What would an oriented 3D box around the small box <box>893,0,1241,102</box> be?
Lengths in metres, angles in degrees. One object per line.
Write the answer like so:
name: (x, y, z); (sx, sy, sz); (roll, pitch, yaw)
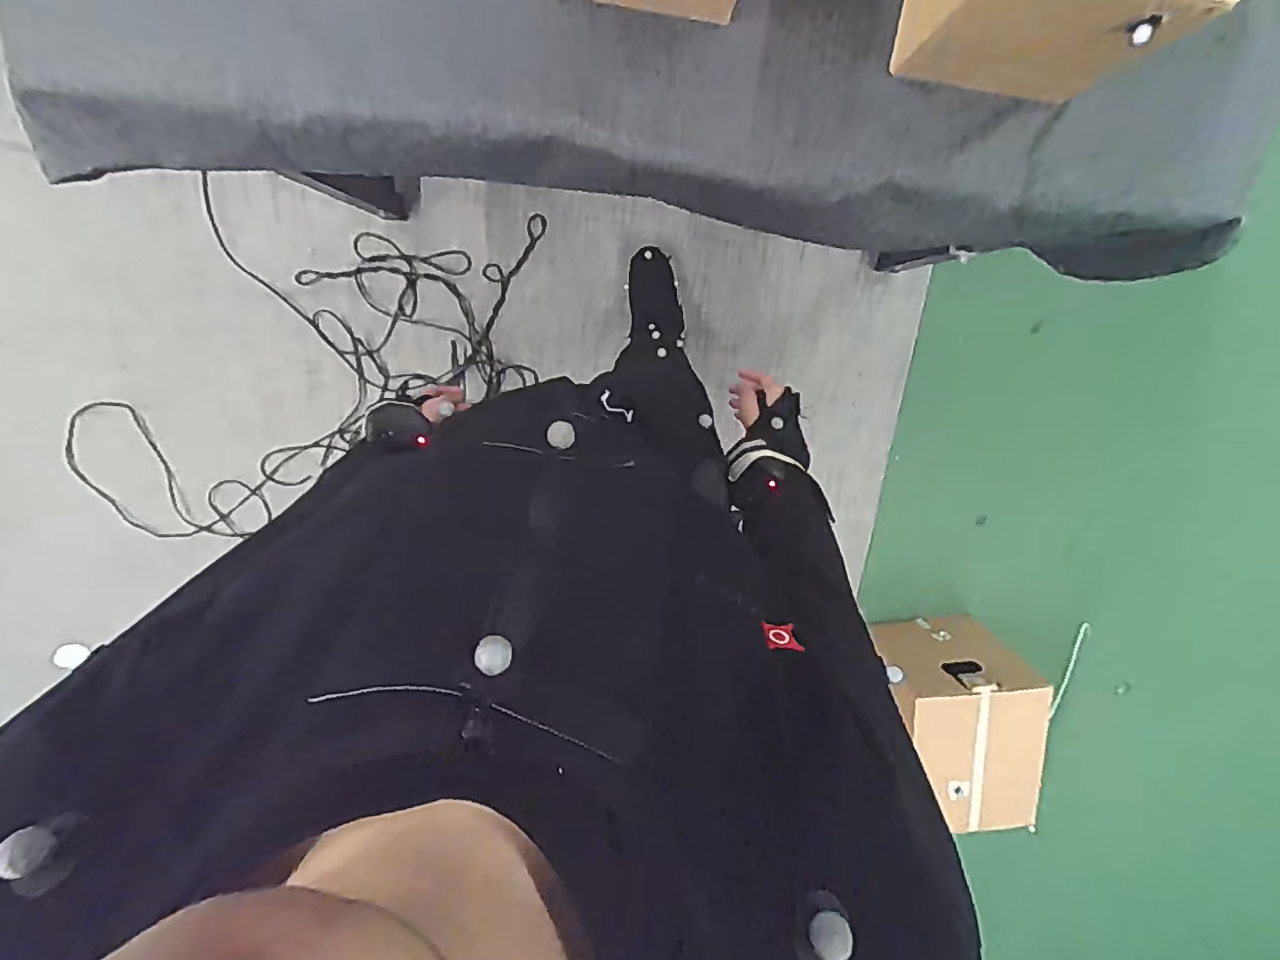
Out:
small box: (0.329, -0.426, 0.419); (0.179, 0.176, 0.168); (7, 105, -3)
